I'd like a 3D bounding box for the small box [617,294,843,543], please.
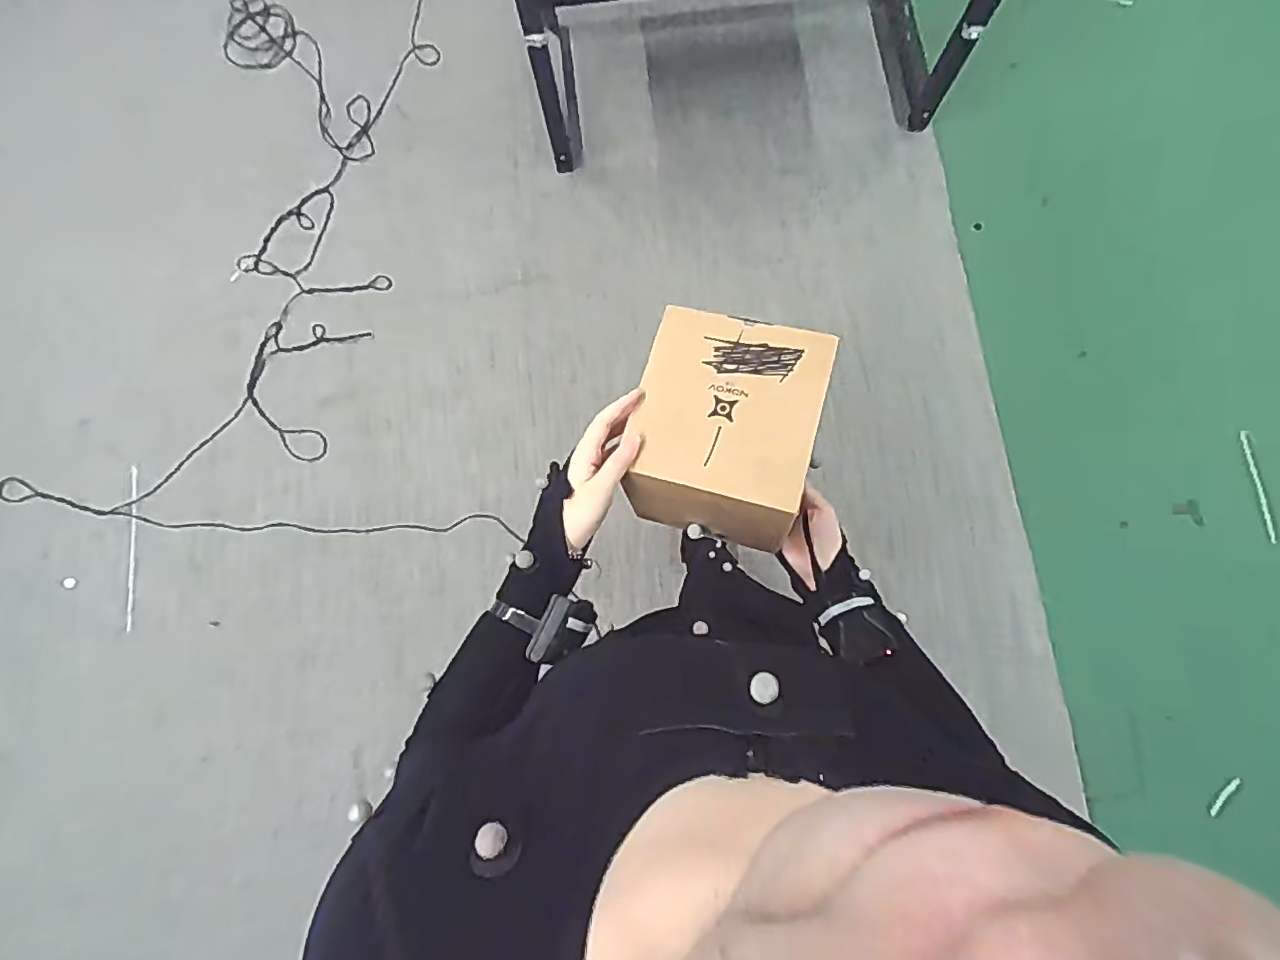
[{"bbox_3d":[0.090,-0.053,0.550,0.168,0.176,0.179,15,73,13],"label":"small box"}]
